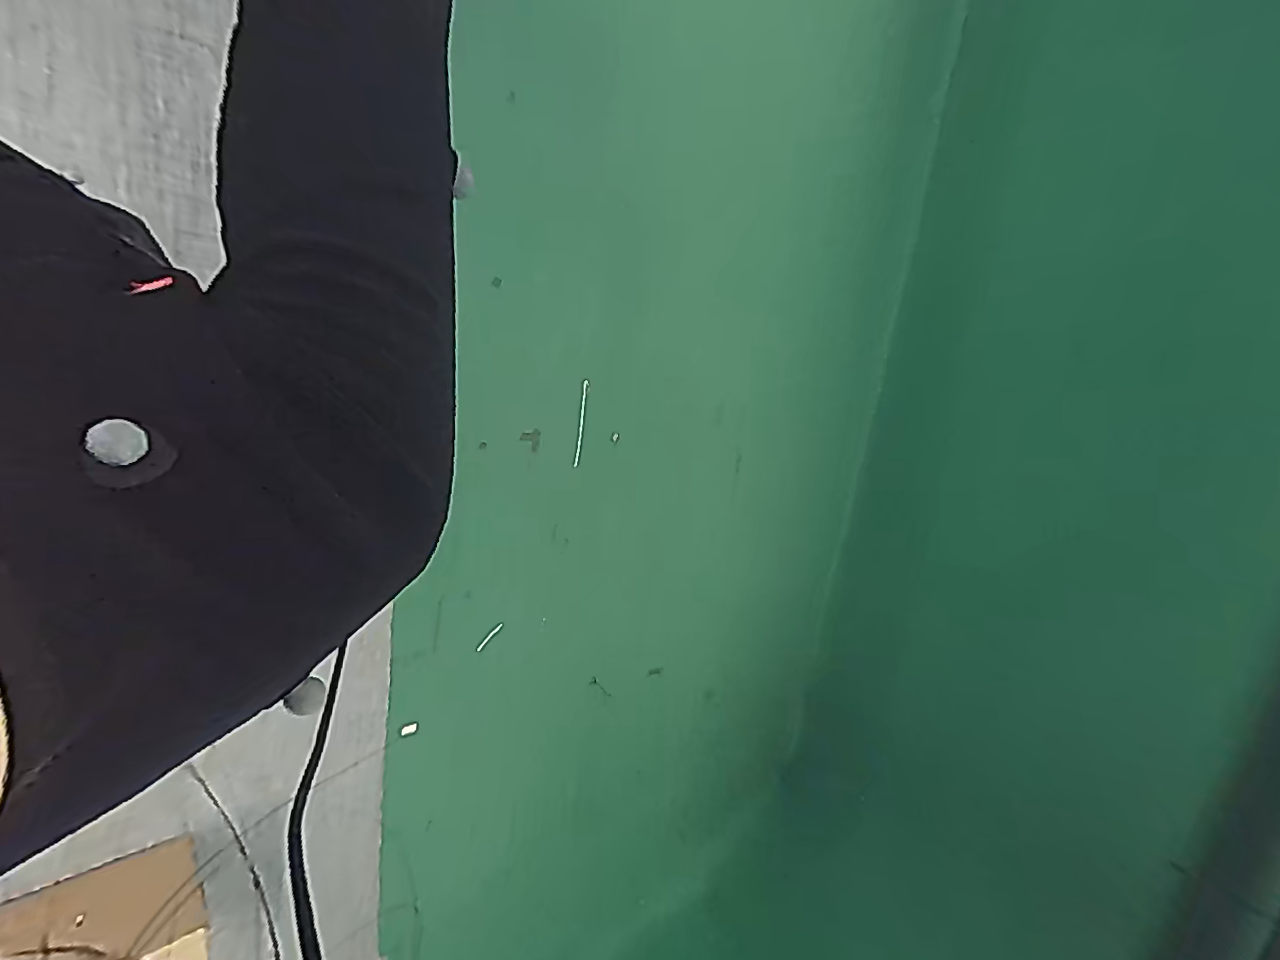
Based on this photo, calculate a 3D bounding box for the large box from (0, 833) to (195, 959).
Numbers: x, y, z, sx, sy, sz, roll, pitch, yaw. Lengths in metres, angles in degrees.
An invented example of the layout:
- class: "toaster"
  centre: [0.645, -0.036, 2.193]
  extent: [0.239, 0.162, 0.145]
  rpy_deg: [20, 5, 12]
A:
- class: "large box"
  centre: [-1.246, 1.086, 1.167]
  extent: [0.408, 0.320, 0.320]
  rpy_deg: [-4, 107, -48]
